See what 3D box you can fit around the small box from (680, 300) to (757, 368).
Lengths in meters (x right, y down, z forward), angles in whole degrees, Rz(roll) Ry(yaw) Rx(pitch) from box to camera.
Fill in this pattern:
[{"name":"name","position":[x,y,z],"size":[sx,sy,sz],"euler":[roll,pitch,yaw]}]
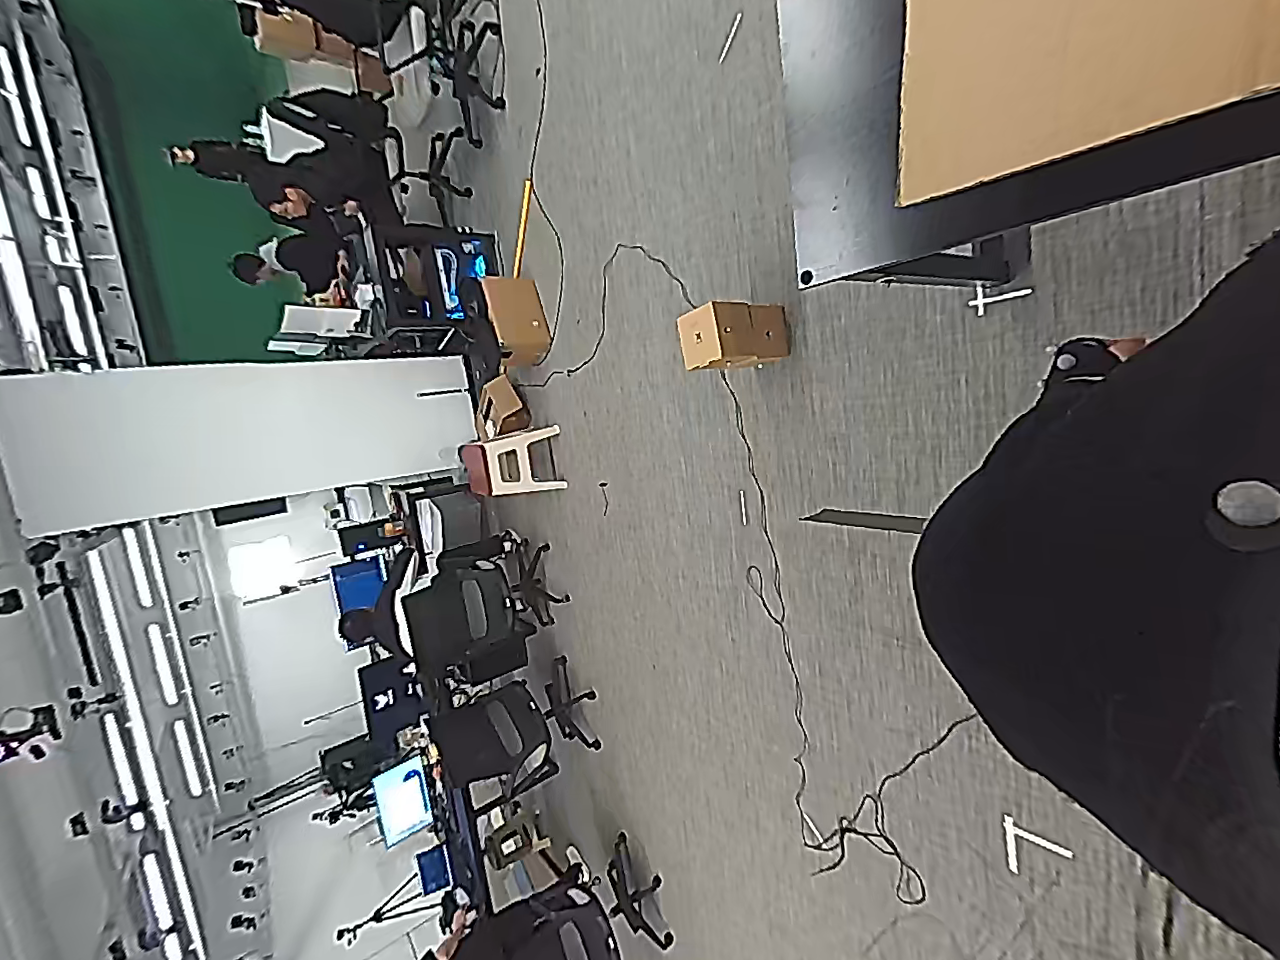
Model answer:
[{"name":"small box","position":[0.255,-0.466,1.734],"size":[0.168,0.176,0.179],"euler":[-8,93,54]}]

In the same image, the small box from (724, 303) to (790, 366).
[{"name":"small box","position":[0.386,-0.489,1.828],"size":[0.168,0.176,0.179],"euler":[-2,99,54]}]
